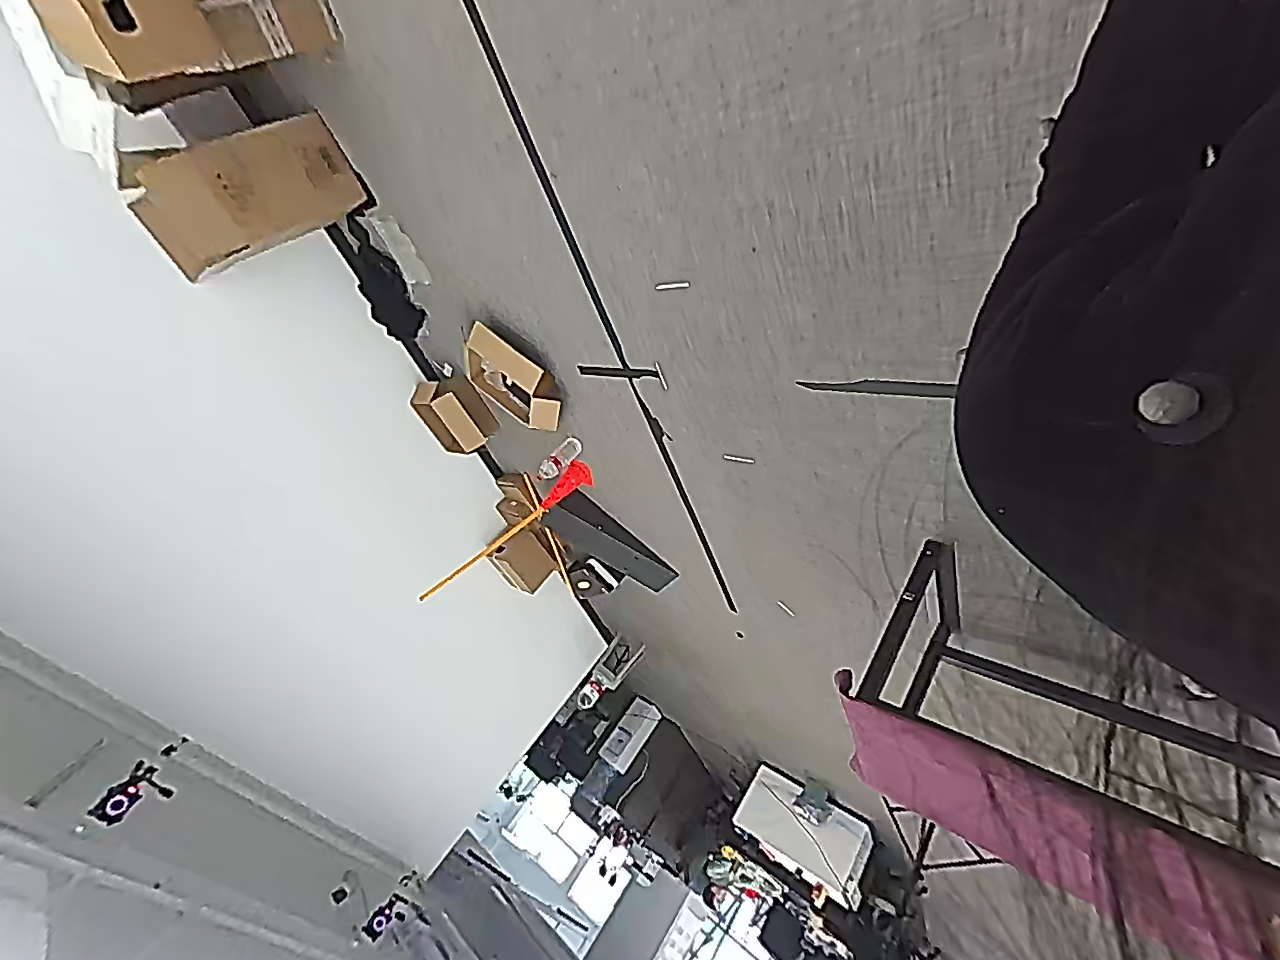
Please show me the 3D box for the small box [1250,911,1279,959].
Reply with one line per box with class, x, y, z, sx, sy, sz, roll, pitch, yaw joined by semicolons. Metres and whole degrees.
small box;1.330;1.001;1.057;0.168;0.176;0.179;10;138;43
